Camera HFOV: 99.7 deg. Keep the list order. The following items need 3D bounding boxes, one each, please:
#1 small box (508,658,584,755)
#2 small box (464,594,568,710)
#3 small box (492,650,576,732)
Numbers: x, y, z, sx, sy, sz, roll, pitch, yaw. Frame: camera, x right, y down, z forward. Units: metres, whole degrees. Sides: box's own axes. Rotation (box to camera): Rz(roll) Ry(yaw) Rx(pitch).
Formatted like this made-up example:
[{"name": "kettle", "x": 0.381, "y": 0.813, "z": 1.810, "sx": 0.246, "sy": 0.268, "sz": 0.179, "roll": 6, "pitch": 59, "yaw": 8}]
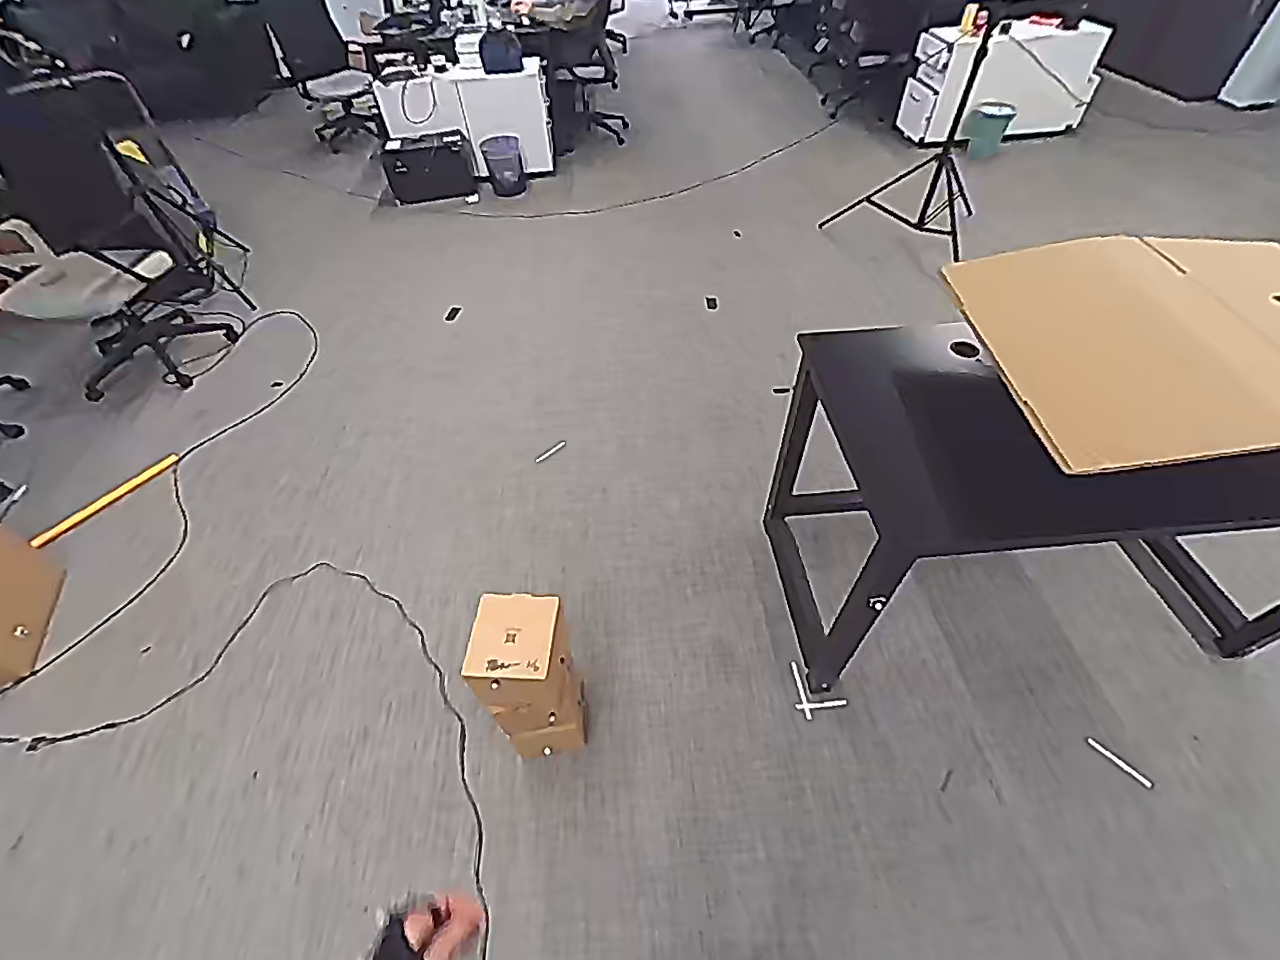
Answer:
[{"name": "small box", "x": -0.236, "y": 0.579, "z": 1.380, "sx": 0.168, "sy": 0.176, "sz": 0.179, "roll": -8, "pitch": 50, "yaw": -3}, {"name": "small box", "x": -0.249, "y": 0.362, "z": 1.137, "sx": 0.168, "sy": 0.176, "sz": 0.179, "roll": 1, "pitch": 48, "yaw": 3}, {"name": "small box", "x": -0.246, "y": 0.469, "z": 1.261, "sx": 0.168, "sy": 0.176, "sz": 0.179, "roll": -9, "pitch": 48, "yaw": -7}]
